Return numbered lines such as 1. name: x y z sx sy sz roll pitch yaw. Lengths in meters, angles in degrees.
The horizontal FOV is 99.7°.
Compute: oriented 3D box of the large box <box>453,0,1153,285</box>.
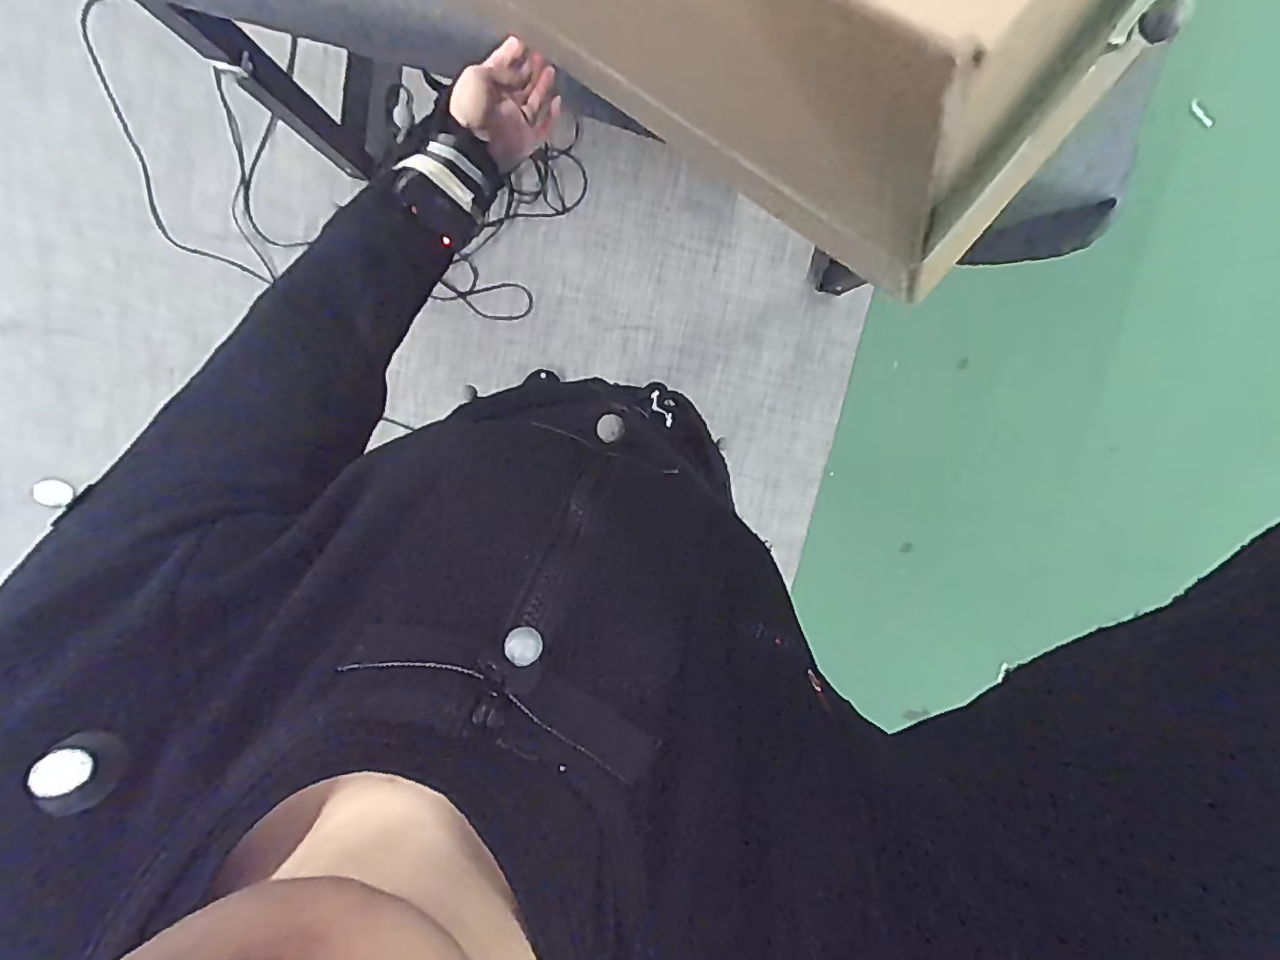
1. large box: 0.063 -0.339 0.232 0.408 0.320 0.320 40 113 13
